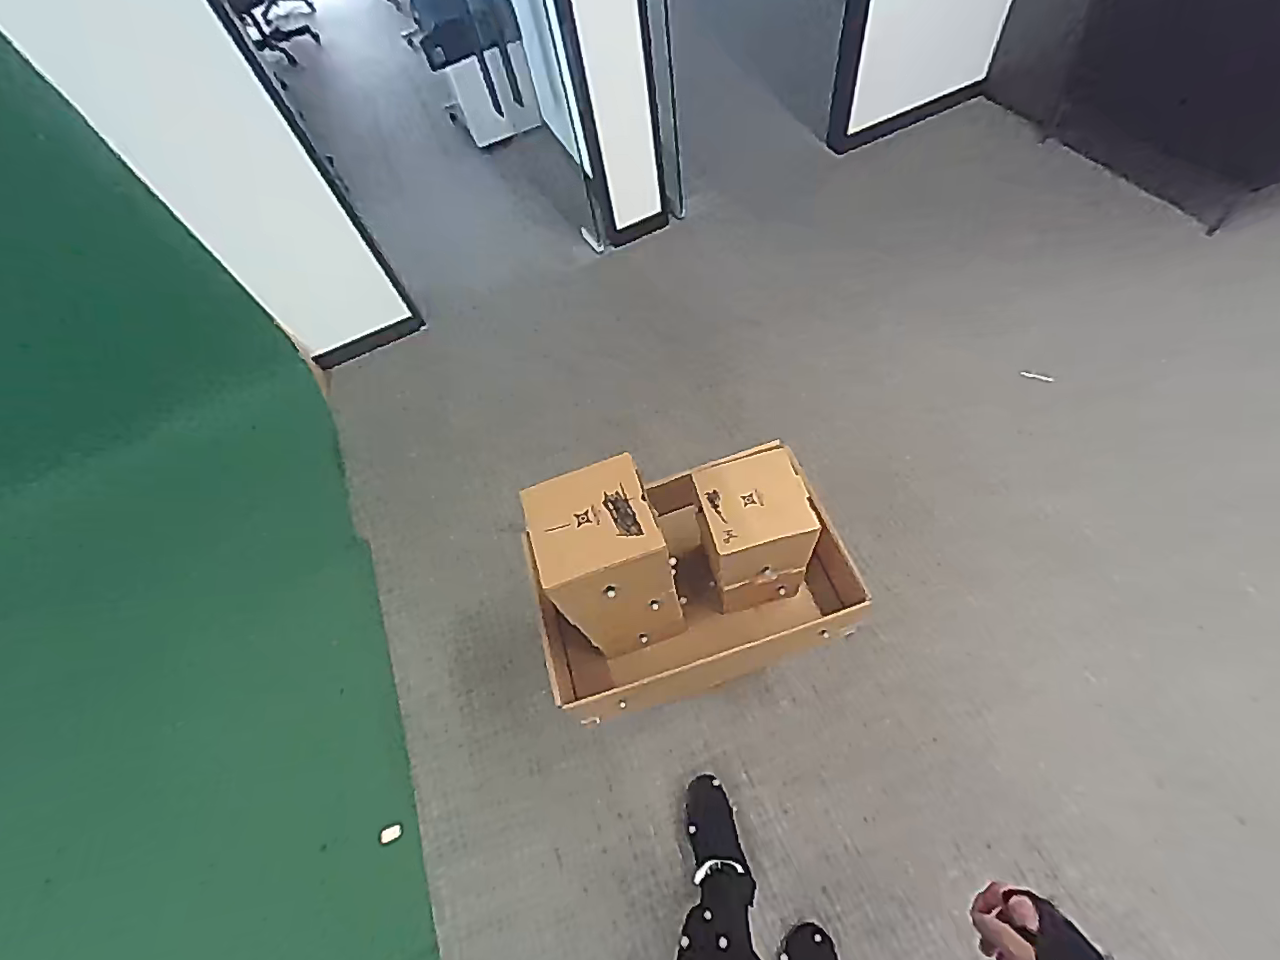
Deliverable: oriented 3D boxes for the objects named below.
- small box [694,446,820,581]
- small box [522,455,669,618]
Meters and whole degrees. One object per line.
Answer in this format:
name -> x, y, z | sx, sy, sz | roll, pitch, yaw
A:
small box -> 0.206, 0.067, 0.990 | 0.179, 0.176, 0.168 | -16, 59, 1
small box -> -0.060, 0.093, 0.837 | 0.179, 0.176, 0.168 | -20, 59, -1
